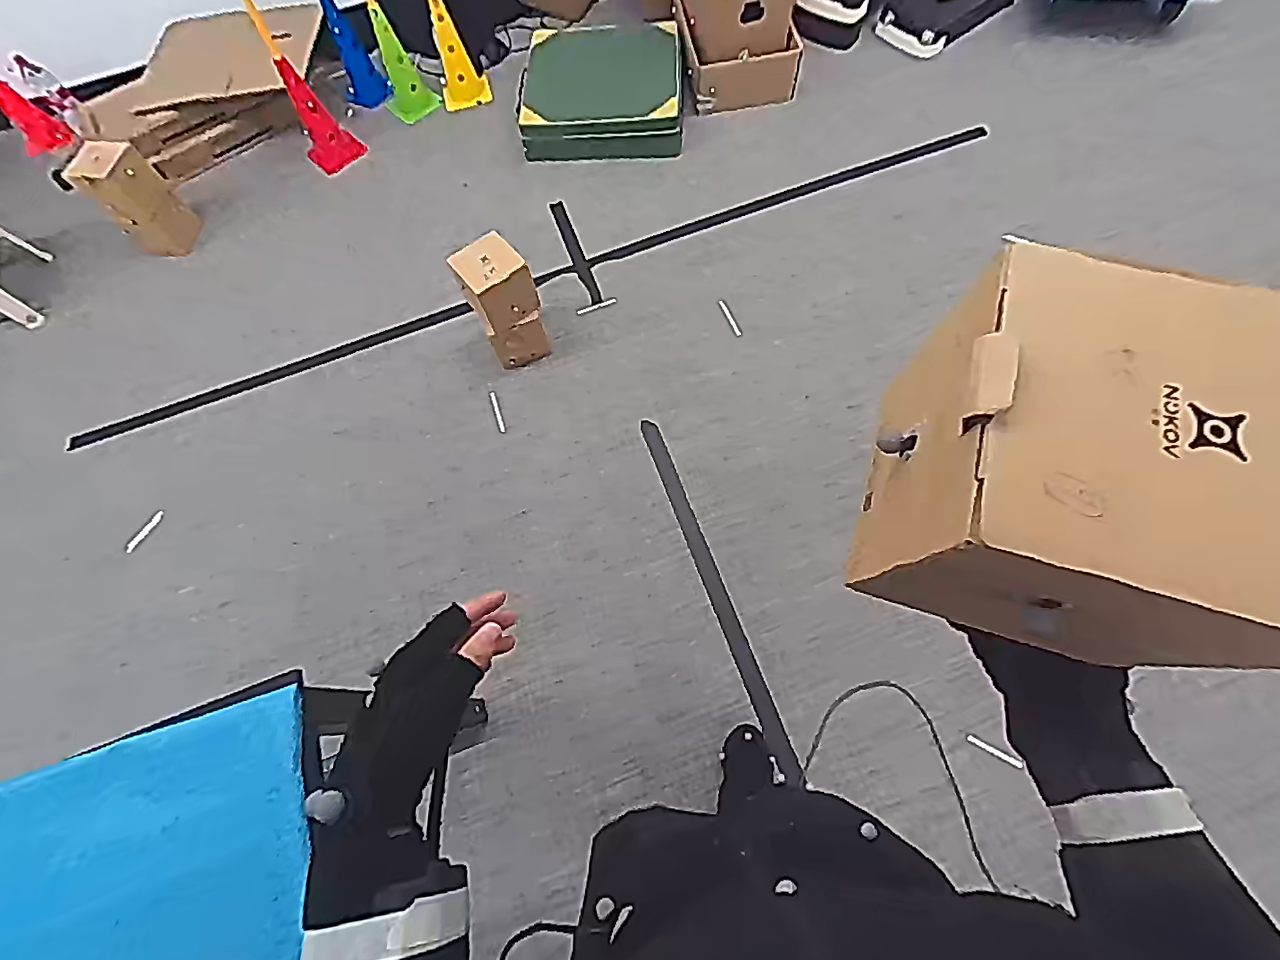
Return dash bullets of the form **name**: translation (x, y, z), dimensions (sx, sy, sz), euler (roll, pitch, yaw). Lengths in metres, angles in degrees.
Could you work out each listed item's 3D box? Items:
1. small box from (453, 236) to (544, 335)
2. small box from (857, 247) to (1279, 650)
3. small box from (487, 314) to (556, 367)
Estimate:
- **small box**: translation (-0.402, -0.556, 1.561), dimensions (0.168, 0.176, 0.179), euler (-34, 70, -8)
- **small box**: translation (0.246, -0.001, 0.318), dimensions (0.179, 0.176, 0.168), euler (13, 73, 7)
- **small box**: translation (-0.380, -0.481, 1.706), dimensions (0.168, 0.176, 0.179), euler (-22, 65, -4)
